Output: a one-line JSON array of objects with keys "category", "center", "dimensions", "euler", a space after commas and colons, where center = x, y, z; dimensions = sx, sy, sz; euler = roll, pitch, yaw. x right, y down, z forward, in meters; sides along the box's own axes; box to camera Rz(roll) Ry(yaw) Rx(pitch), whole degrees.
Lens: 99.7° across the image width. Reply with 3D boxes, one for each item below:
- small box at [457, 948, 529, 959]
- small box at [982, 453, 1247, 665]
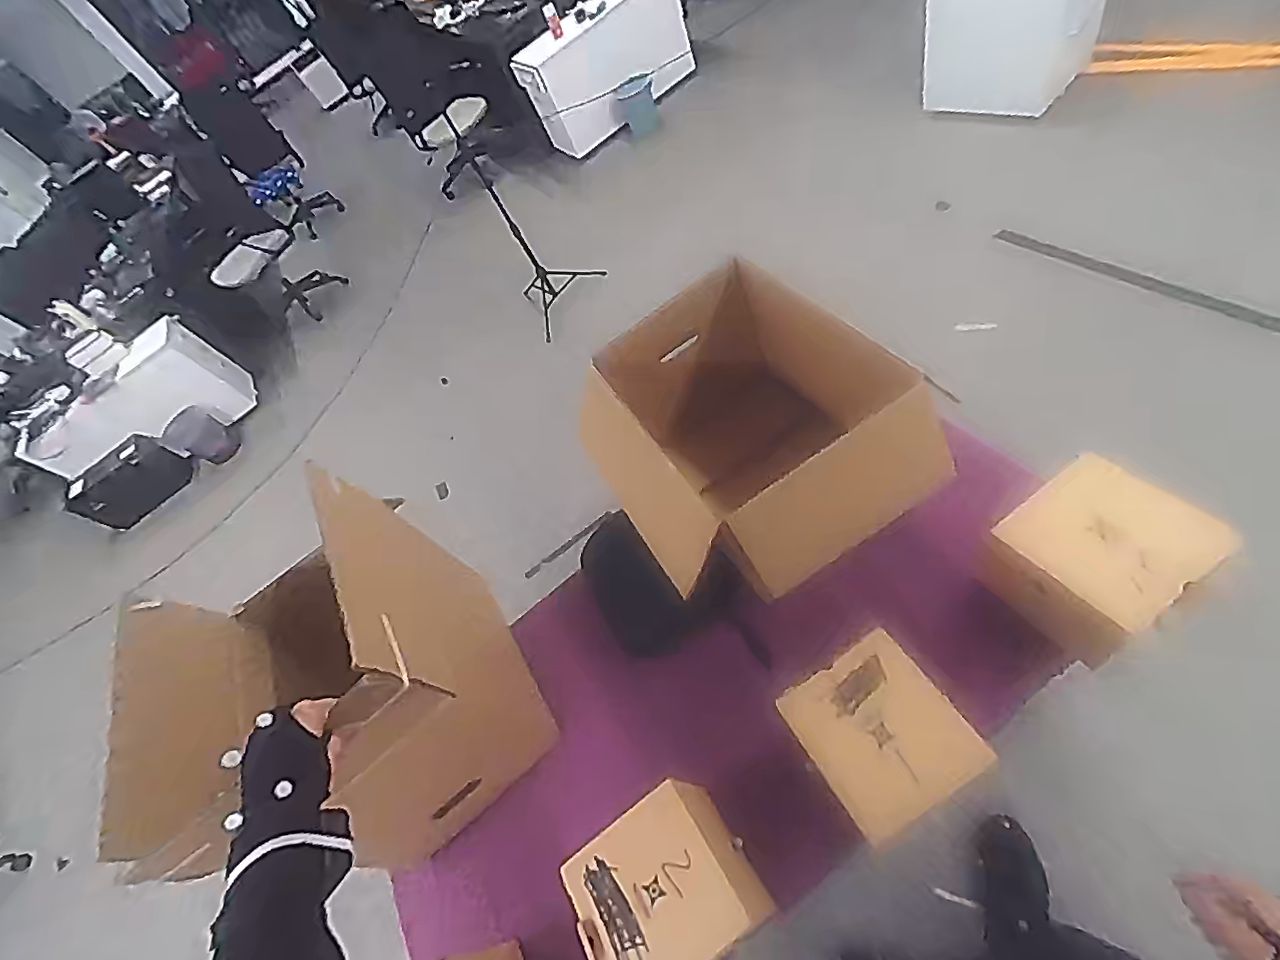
[{"category": "small box", "center": [-0.225, 0.730, 0.665], "dimensions": [0.179, 0.176, 0.168], "euler": [-40, 51, -5]}, {"category": "small box", "center": [0.574, 0.106, 0.690], "dimensions": [0.168, 0.176, 0.179], "euler": [-39, 51, -1]}]
